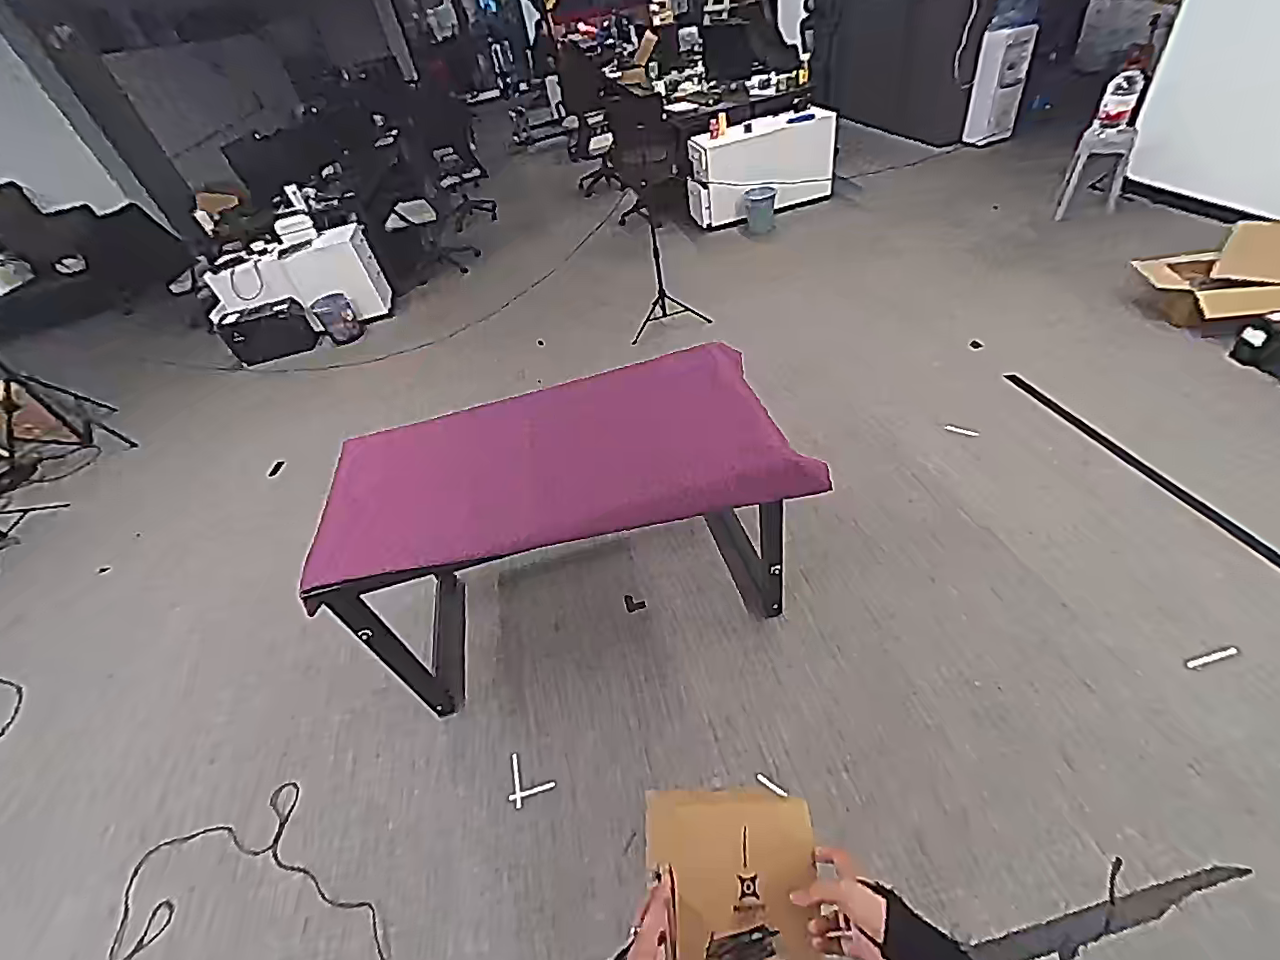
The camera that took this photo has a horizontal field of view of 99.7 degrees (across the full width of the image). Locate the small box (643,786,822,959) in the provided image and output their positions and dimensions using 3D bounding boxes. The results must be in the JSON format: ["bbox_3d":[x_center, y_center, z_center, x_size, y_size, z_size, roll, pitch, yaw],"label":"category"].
[{"bbox_3d":[0.099,0.482,0.657,0.168,0.176,0.179,3,65,-9],"label":"small box"}]
